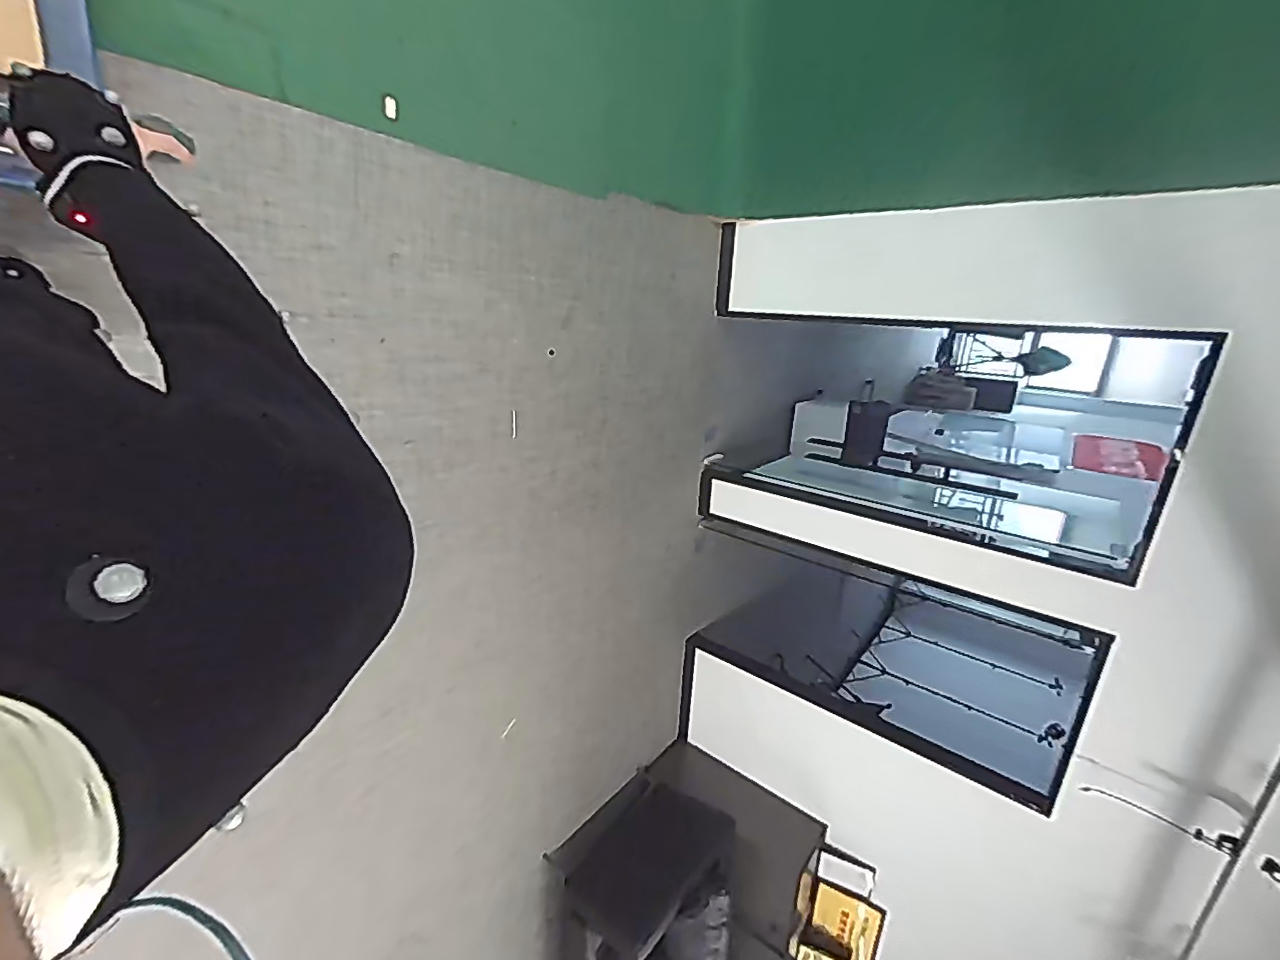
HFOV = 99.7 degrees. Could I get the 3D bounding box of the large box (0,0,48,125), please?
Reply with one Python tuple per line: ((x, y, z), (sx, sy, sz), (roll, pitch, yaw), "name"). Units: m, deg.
((-1.019, -0.733, 0.667), (0.320, 0.320, 0.408), (-16, 114, -50), "large box")
